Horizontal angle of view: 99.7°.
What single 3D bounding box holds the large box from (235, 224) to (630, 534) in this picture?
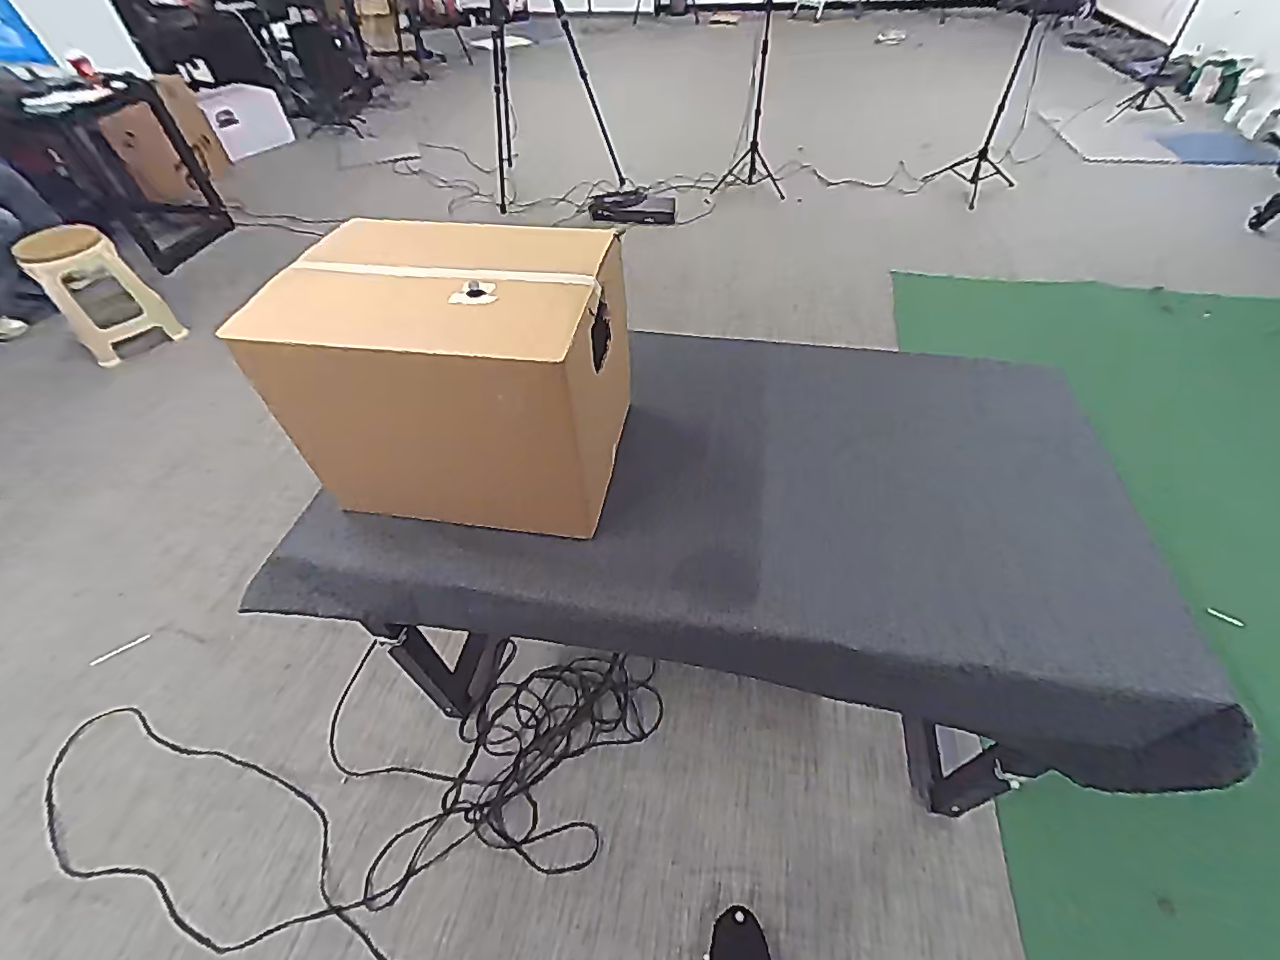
[{"bbox_3d":[-0.236,-0.147,0.789,0.408,0.320,0.320,6,49,6],"label":"large box"}]
